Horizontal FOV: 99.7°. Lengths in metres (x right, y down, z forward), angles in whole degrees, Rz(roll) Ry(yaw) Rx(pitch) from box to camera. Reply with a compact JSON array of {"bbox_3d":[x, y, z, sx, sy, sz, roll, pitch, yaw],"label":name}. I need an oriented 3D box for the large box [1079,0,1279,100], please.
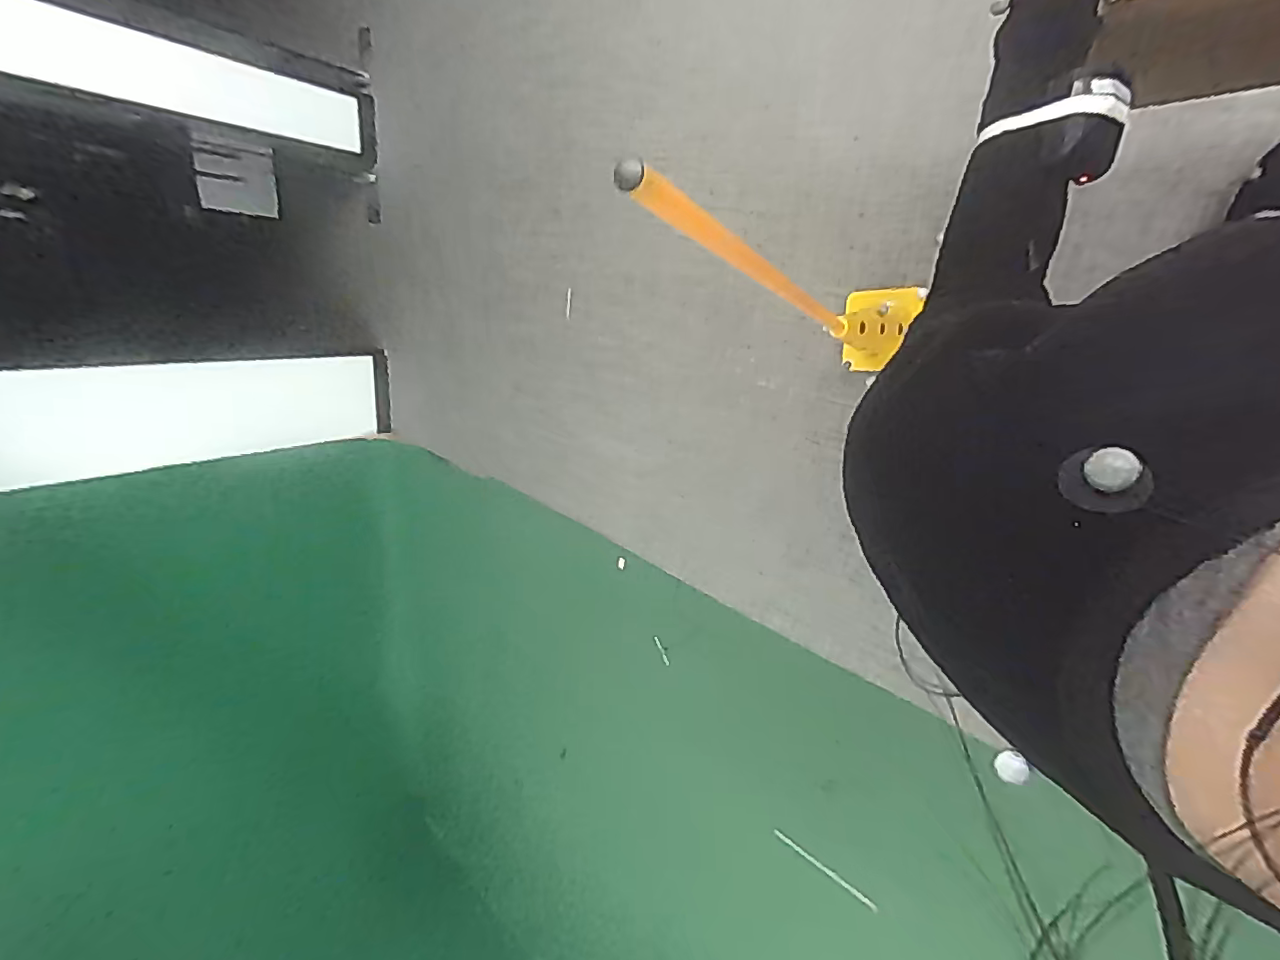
[{"bbox_3d":[0.550,-0.478,0.315,0.408,0.320,0.320,10,112,32],"label":"large box"}]
